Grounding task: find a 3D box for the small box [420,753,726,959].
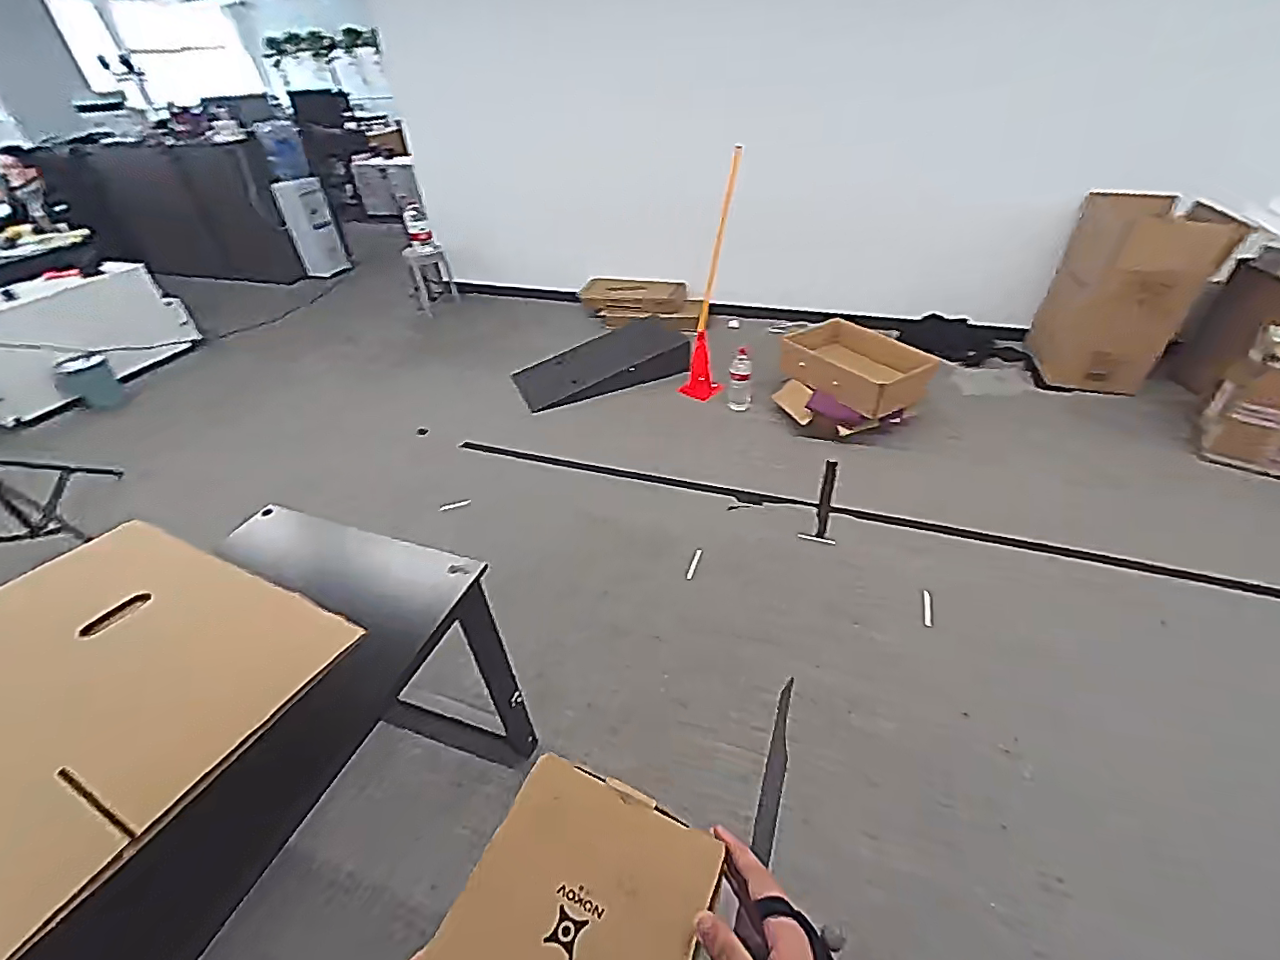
[{"bbox_3d":[-0.043,0.365,0.428,0.168,0.176,0.179,16,44,21],"label":"small box"}]
